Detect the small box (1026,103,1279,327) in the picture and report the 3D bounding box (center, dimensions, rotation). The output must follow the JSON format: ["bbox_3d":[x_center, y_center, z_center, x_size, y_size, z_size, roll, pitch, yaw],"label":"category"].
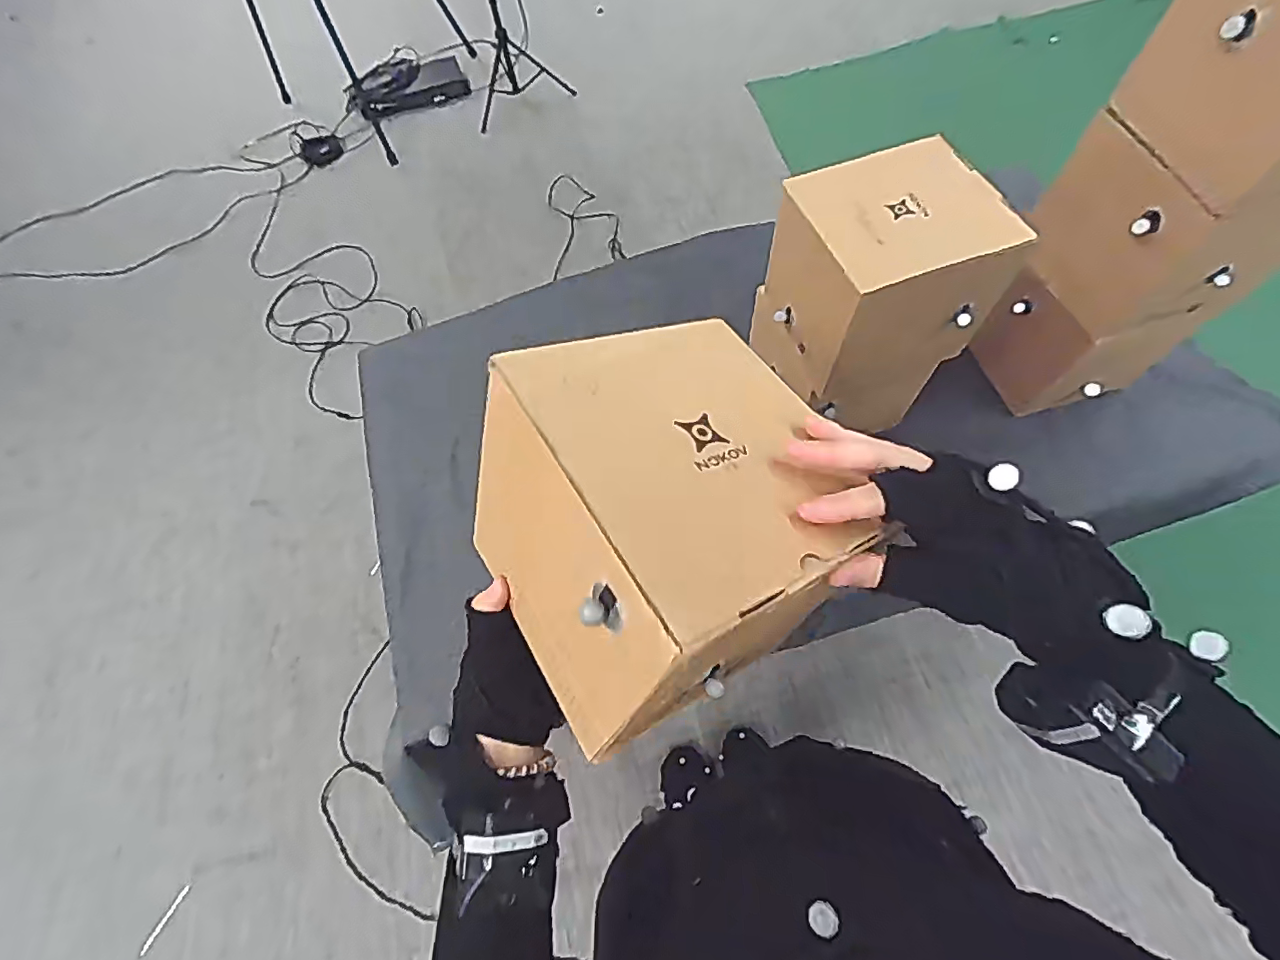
[{"bbox_3d":[0.571,-0.289,0.586,0.168,0.176,0.179,-14,65,-2],"label":"small box"}]

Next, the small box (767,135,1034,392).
[{"bbox_3d":[0.256,-0.224,0.585,0.179,0.176,0.168,-18,64,-3],"label":"small box"}]

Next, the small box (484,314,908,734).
[{"bbox_3d":[0.013,0.024,0.342,0.168,0.176,0.179,-21,62,-32],"label":"small box"}]

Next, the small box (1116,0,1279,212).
[{"bbox_3d":[0.556,-0.356,0.437,0.168,0.176,0.179,-13,64,0],"label":"small box"}]
